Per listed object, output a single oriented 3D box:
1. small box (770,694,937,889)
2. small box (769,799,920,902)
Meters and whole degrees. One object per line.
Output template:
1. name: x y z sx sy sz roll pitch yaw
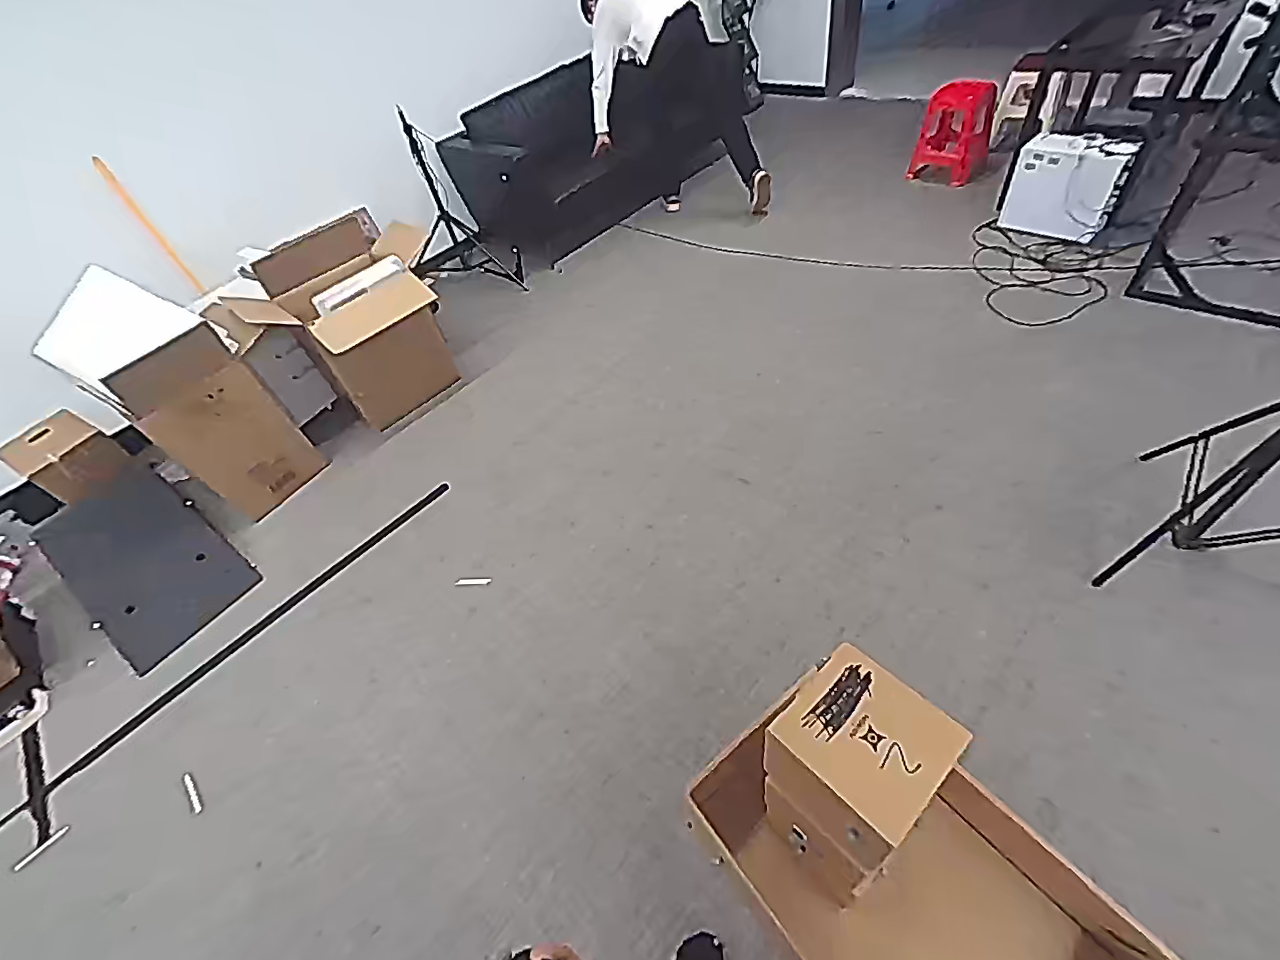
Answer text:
1. small box: 0.310 0.473 0.822 0.179 0.176 0.168 -38 51 -23
2. small box: 0.340 0.587 0.936 0.168 0.176 0.179 -37 52 -20
